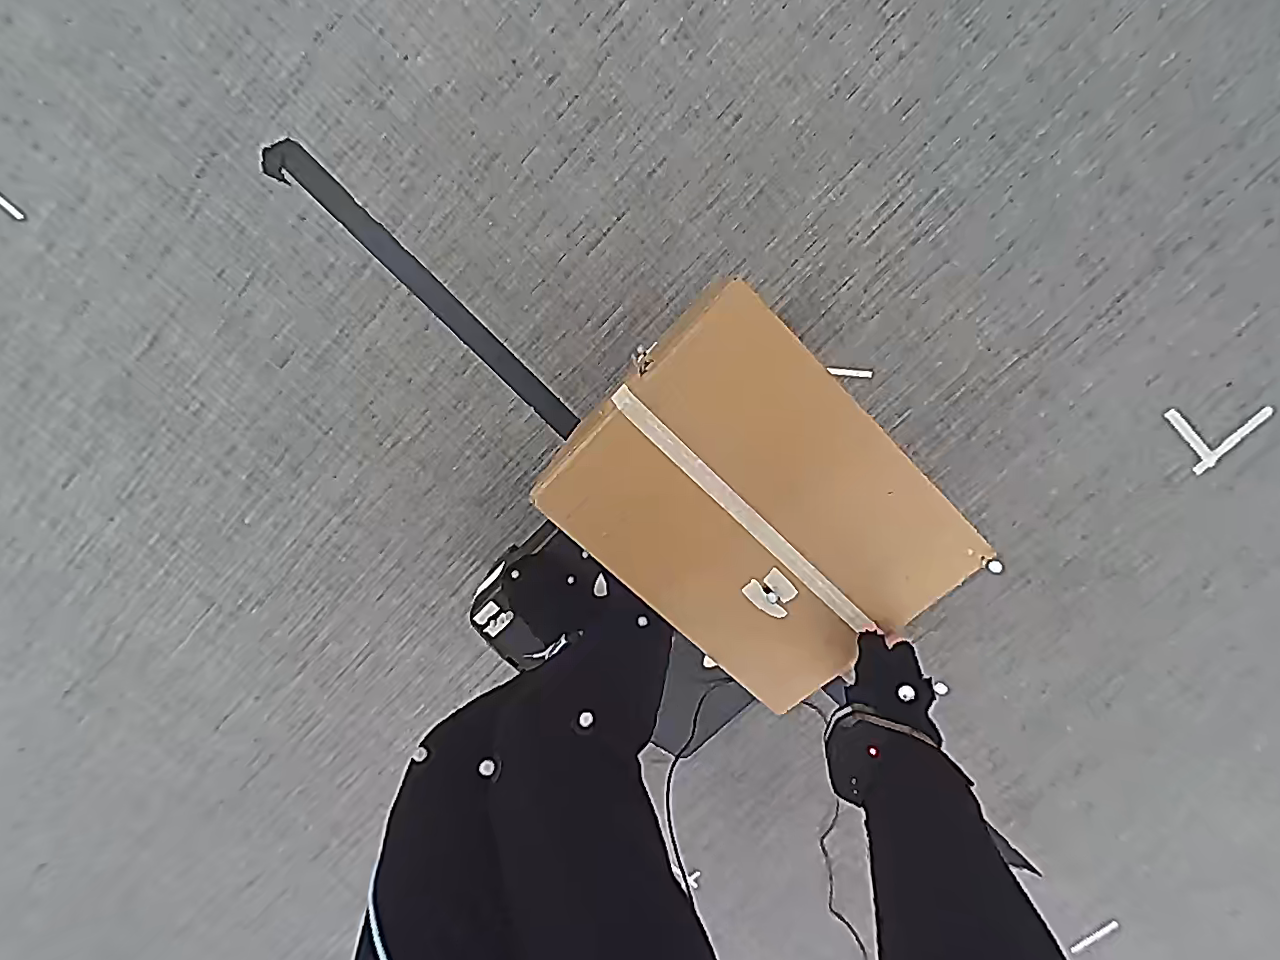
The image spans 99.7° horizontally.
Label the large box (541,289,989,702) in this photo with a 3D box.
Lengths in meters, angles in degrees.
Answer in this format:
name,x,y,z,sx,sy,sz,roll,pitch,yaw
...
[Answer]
name,x,y,z,sx,sy,sz,roll,pitch,yaw
large box,0.140,-0.002,0.732,0.408,0.320,0.320,42,107,-11
